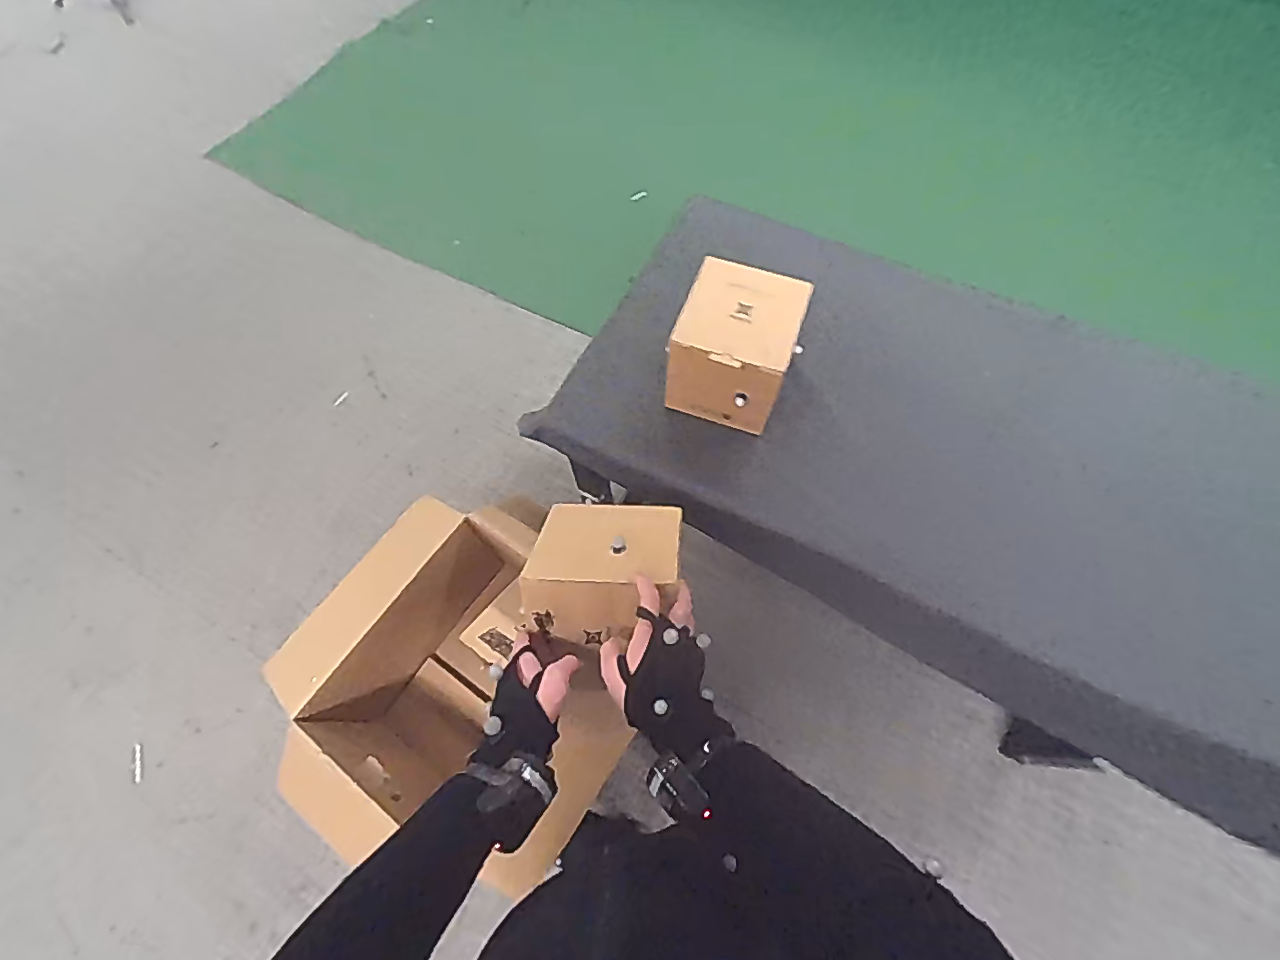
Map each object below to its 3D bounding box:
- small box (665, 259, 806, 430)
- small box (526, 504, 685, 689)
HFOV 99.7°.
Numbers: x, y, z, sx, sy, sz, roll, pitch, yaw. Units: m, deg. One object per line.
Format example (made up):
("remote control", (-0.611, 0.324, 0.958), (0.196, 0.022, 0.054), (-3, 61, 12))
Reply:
("small box", (0.141, -0.204, 0.846), (0.168, 0.176, 0.179), (18, 65, 8))
("small box", (-0.033, 0.141, 0.691), (0.179, 0.168, 0.176), (1, 27, 5))
